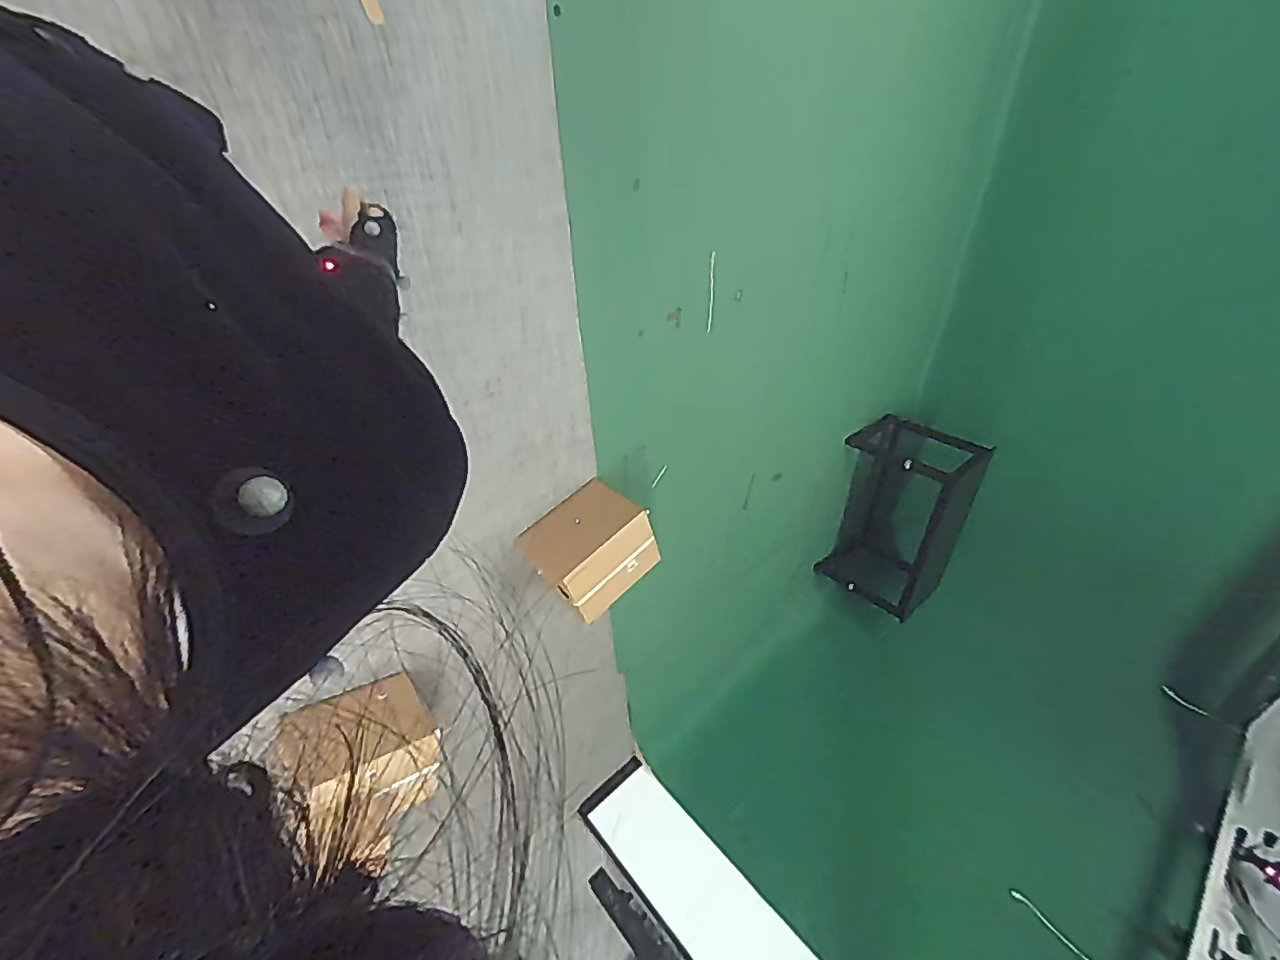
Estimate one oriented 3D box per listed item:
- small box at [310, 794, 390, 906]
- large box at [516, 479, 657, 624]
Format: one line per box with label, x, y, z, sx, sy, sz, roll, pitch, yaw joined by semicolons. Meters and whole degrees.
small box;-0.851;1.072;1.582;0.168;0.176;0.179;-10;122;-43
large box;-0.202;0.270;2.127;0.408;0.320;0.320;-40;138;-23
